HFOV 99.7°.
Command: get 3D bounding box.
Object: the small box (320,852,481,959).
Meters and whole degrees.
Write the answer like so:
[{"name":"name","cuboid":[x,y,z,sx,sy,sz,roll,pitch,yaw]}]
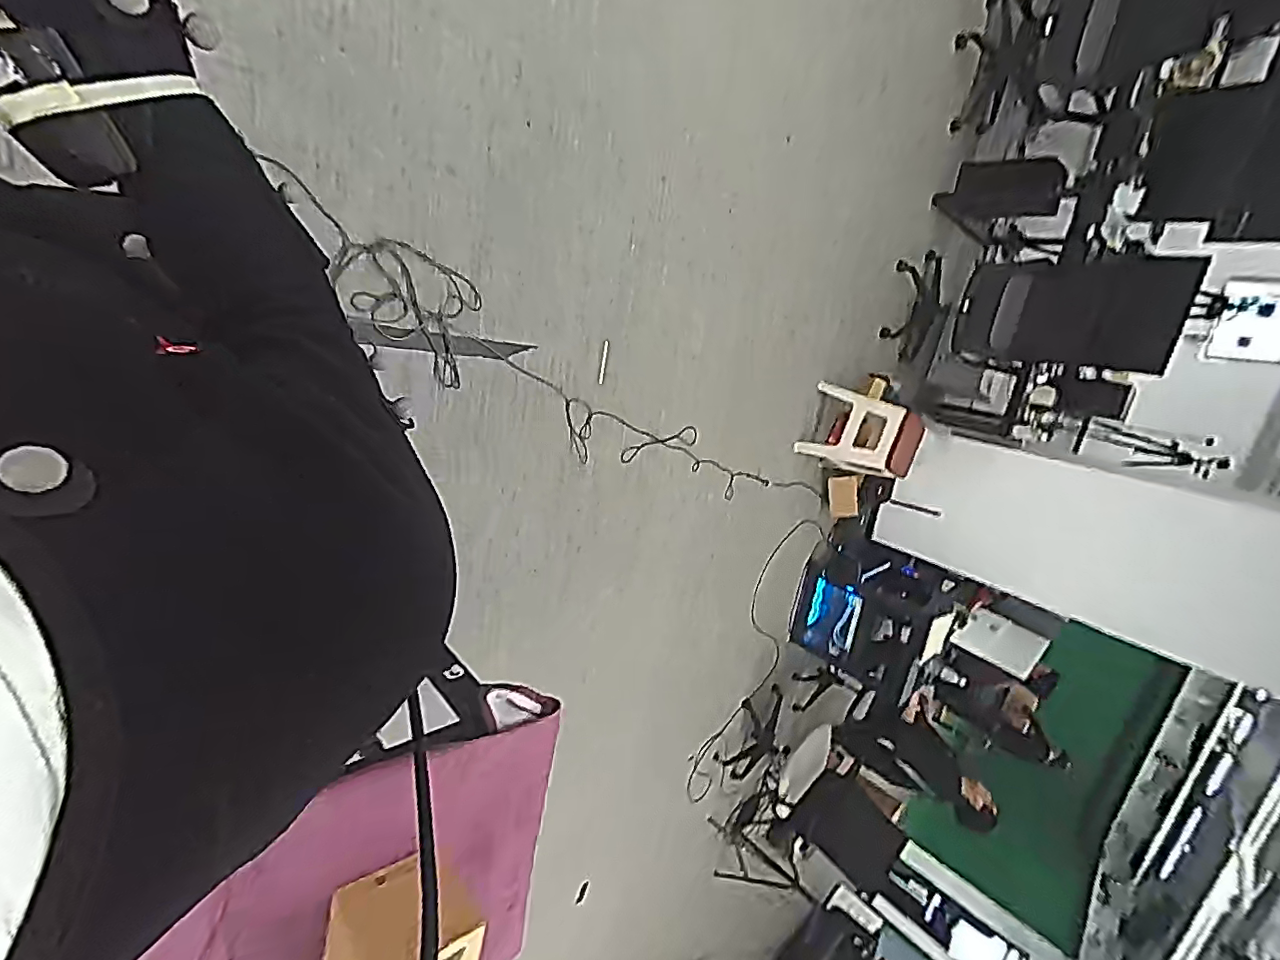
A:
[{"name":"small box","cuboid":[-0.368,0.713,0.820,0.168,0.176,0.179,3,105,-46]}]
